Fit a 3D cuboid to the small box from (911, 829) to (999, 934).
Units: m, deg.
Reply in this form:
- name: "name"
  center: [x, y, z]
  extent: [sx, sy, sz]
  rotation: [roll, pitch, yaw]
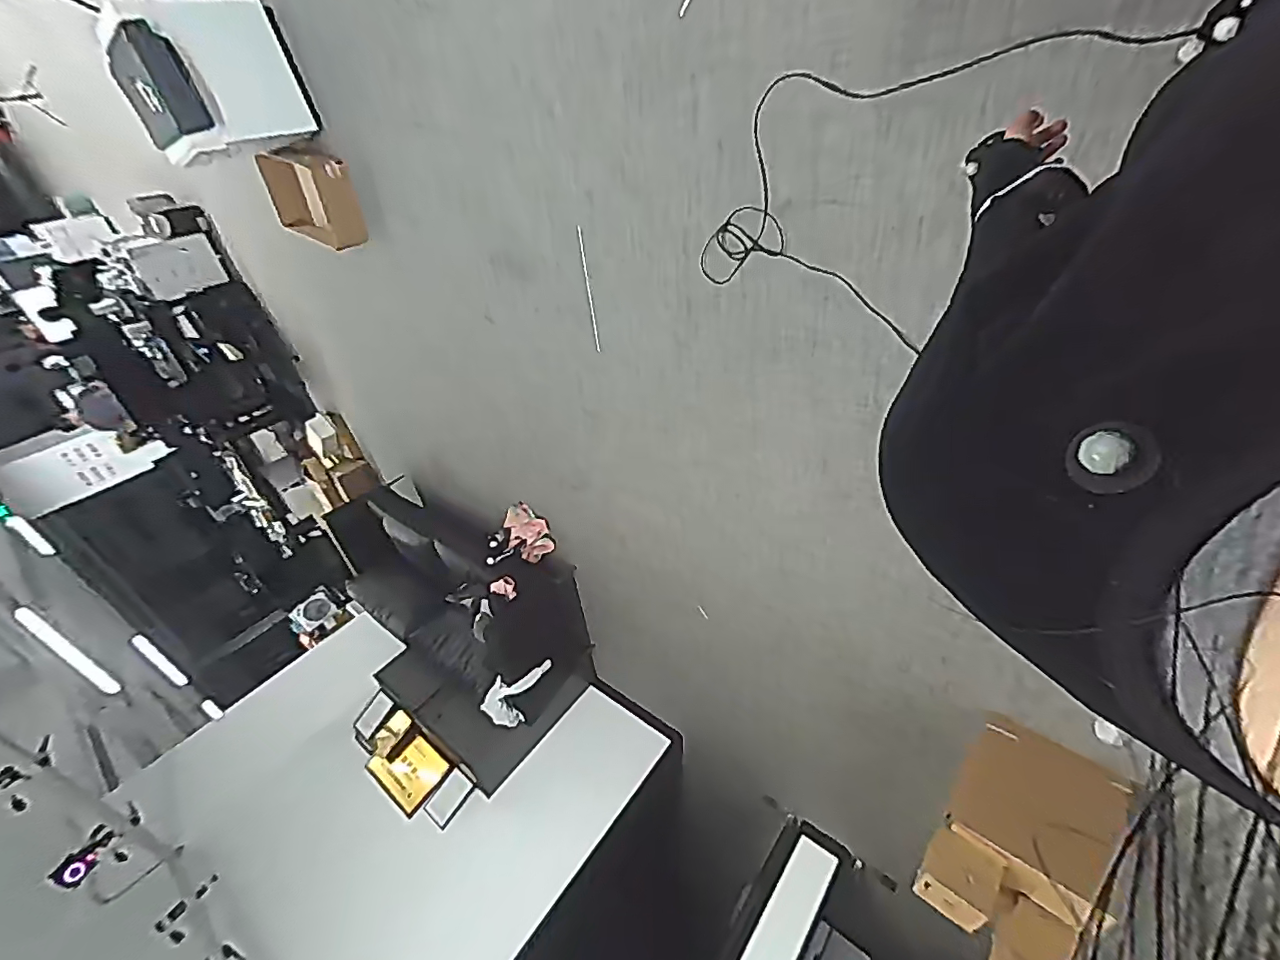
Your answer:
- name: "small box"
  center: [0.969, 1.224, 1.658]
  extent: [0.179, 0.176, 0.168]
  rotation: [25, 134, 30]

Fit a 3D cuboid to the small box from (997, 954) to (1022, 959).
- name: "small box"
  center: [1.067, 1.478, 1.501]
  extent: [0.168, 0.176, 0.179]
  rotation: [26, 137, 28]
